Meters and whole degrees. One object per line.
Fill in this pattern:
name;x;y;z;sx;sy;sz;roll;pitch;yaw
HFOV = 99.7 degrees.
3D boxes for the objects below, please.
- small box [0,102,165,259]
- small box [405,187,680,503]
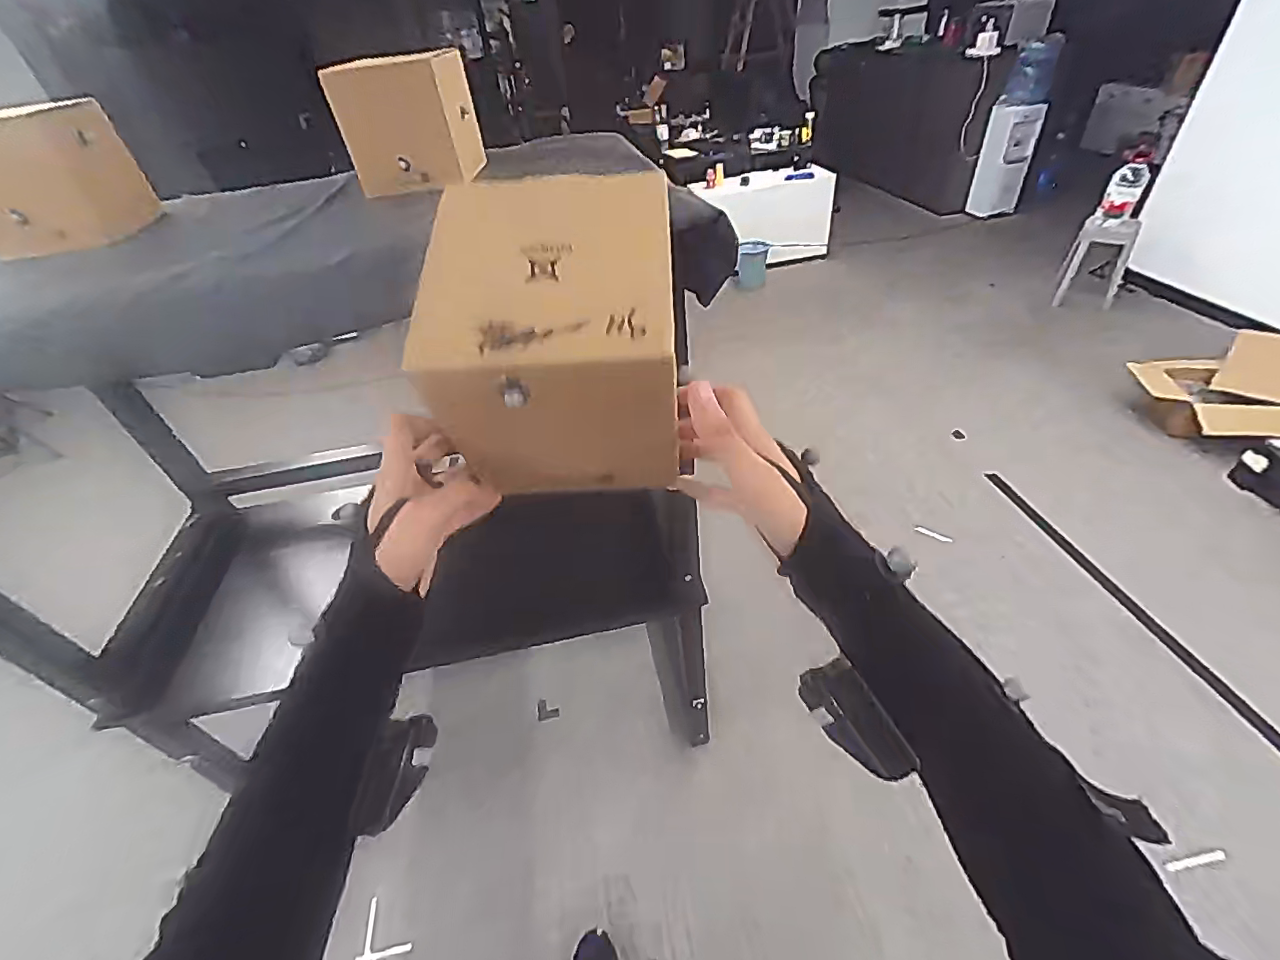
small box;-0.881;-0.453;0.817;0.168;0.176;0.179;-12;42;-5
small box;-0.053;-0.097;0.426;0.168;0.176;0.179;-2;62;4
